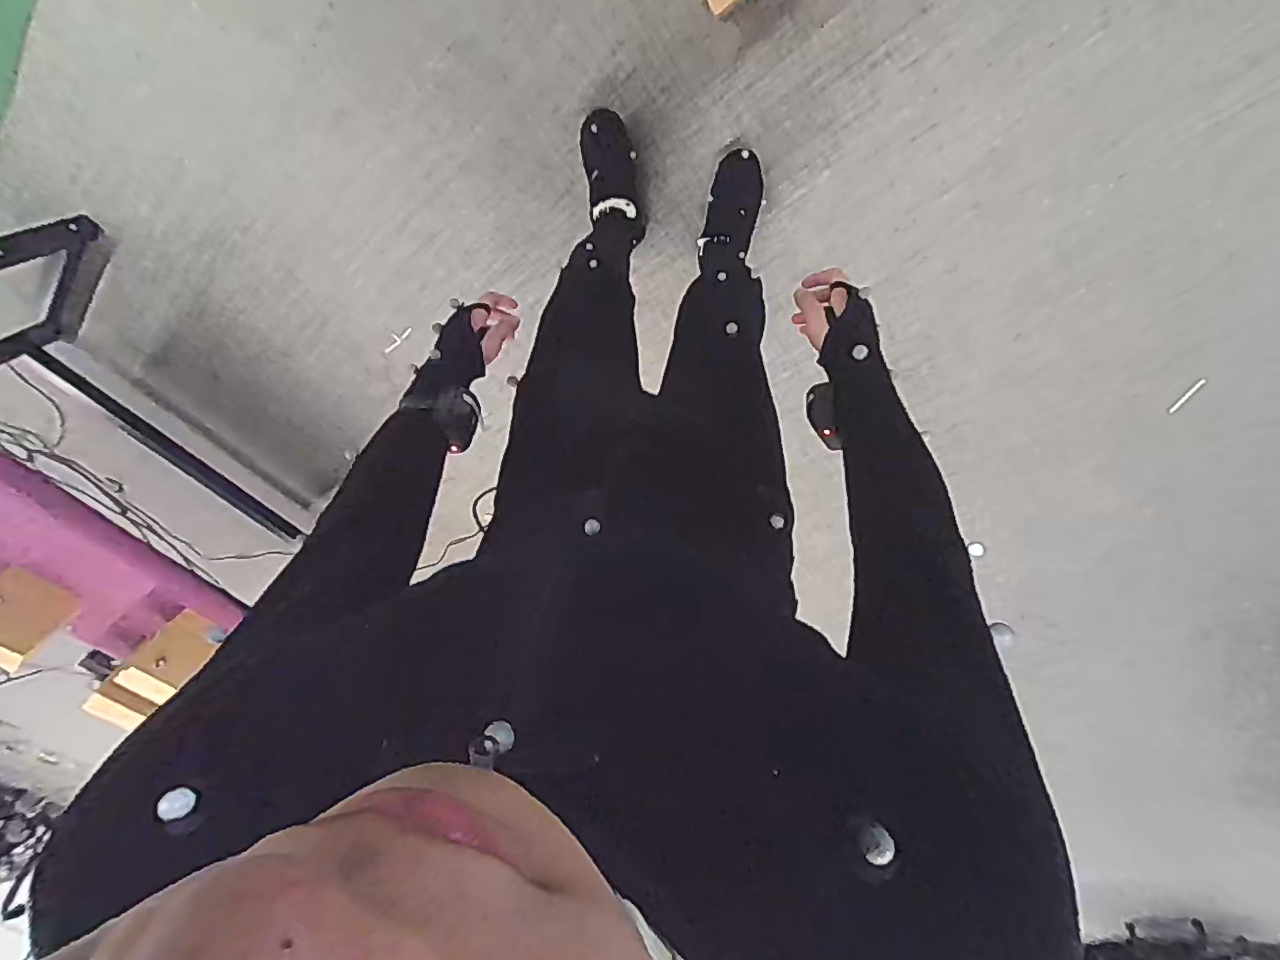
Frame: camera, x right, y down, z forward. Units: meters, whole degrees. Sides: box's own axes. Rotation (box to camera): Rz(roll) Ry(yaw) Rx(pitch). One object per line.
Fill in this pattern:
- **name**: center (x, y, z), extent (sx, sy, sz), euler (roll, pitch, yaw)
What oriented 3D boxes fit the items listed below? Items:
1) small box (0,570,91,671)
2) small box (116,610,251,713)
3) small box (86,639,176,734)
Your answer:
- **small box**: center (-1.575, 0.349, 1.369), extent (0.168, 0.176, 0.179), euler (-29, 119, 31)
- **small box**: center (-1.141, 0.456, 1.364), extent (0.168, 0.176, 0.179), euler (-26, 119, 31)
- **small box**: center (-1.364, 0.574, 1.507), extent (0.168, 0.176, 0.179), euler (-31, 117, 31)
